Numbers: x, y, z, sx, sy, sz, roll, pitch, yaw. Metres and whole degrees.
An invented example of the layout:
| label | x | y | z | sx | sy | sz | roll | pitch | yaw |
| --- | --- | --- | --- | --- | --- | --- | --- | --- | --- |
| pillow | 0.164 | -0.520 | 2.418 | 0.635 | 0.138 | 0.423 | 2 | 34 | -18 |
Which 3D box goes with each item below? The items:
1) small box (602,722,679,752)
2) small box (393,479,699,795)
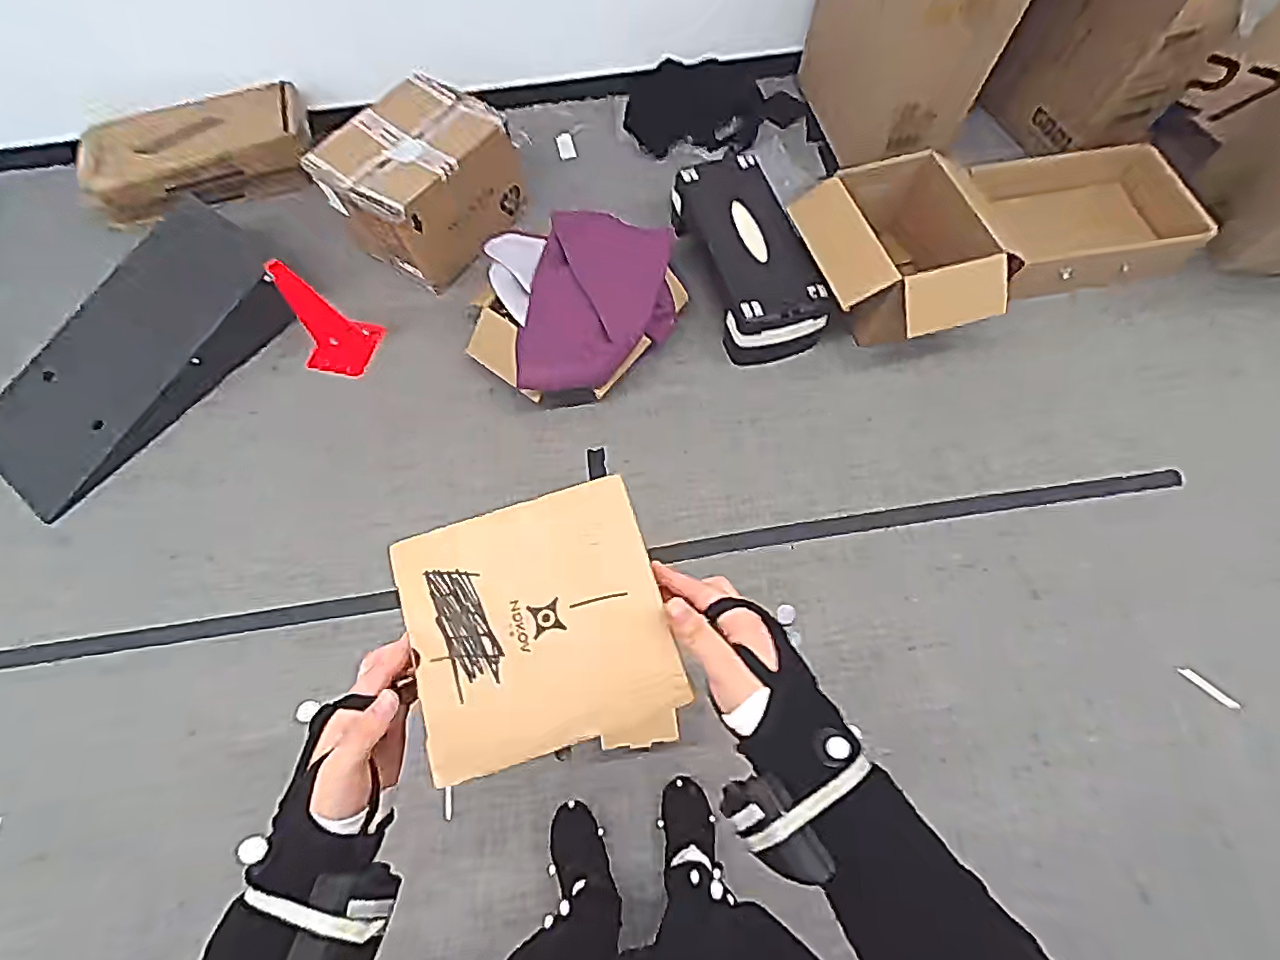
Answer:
| label | x | y | z | sx | sy | sz | roll | pitch | yaw |
| --- | --- | --- | --- | --- | --- | --- | --- | --- | --- |
| small box | -0.003 | 0.507 | 1.233 | 0.168 | 0.176 | 0.179 | -7 | 68 | -1 |
| small box | -0.063 | 0.117 | 0.436 | 0.179 | 0.176 | 0.168 | -18 | 77 | -3 |
